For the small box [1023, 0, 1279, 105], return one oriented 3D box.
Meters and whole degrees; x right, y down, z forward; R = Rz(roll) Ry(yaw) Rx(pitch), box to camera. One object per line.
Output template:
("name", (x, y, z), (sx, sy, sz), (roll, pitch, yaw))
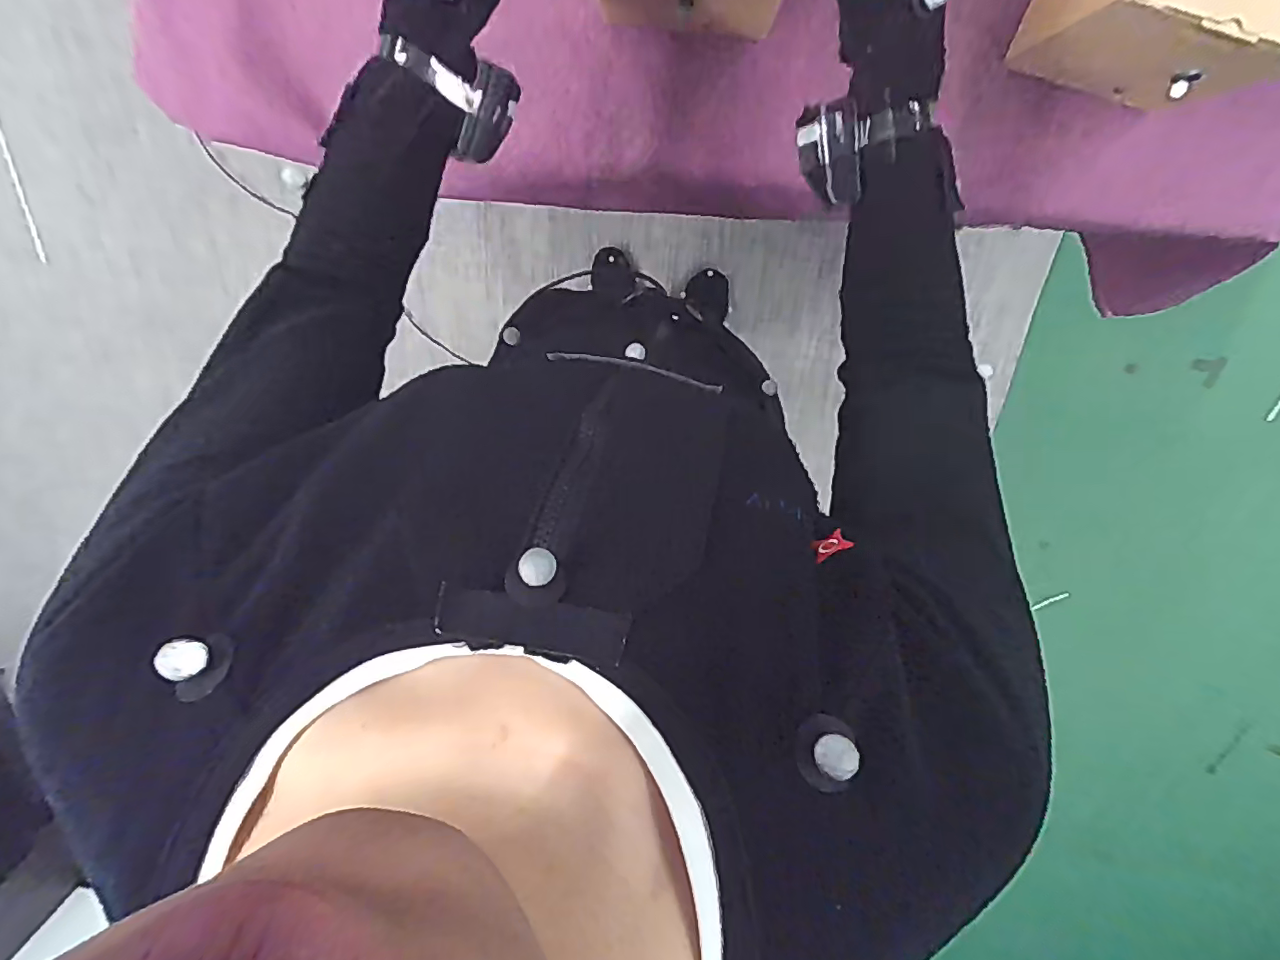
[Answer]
("small box", (0.452, -0.429, 0.426), (0.168, 0.176, 0.179), (16, 114, -2))
